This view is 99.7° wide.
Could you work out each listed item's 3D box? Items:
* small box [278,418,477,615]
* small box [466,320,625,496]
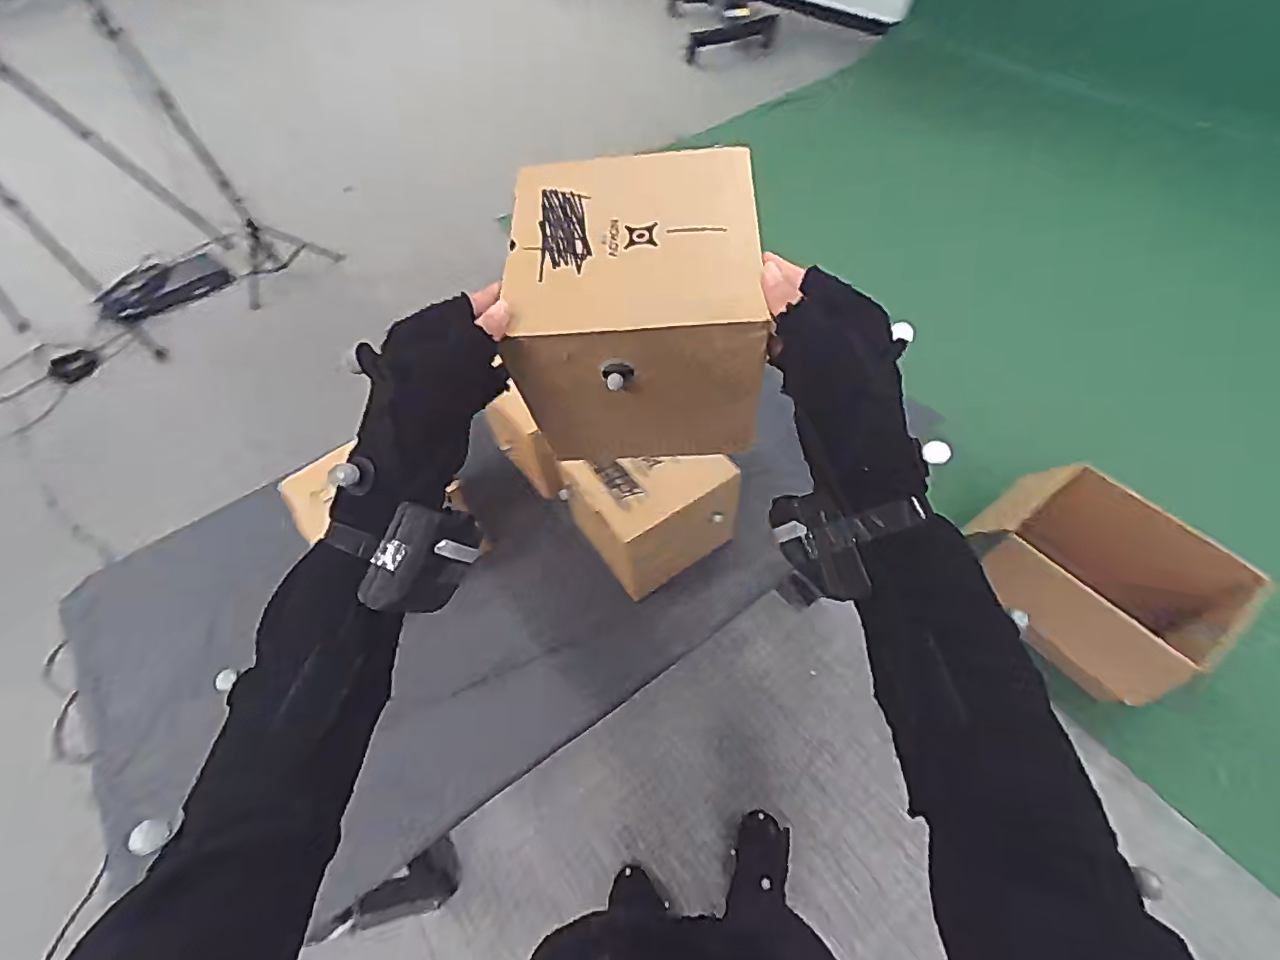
[{"bbox_3d":[-0.349,0.054,0.755,0.179,0.176,0.168,-36,60,-18],"label":"small box"},{"bbox_3d":[-0.137,-0.110,0.853,0.179,0.176,0.168,-37,61,-18],"label":"small box"}]
